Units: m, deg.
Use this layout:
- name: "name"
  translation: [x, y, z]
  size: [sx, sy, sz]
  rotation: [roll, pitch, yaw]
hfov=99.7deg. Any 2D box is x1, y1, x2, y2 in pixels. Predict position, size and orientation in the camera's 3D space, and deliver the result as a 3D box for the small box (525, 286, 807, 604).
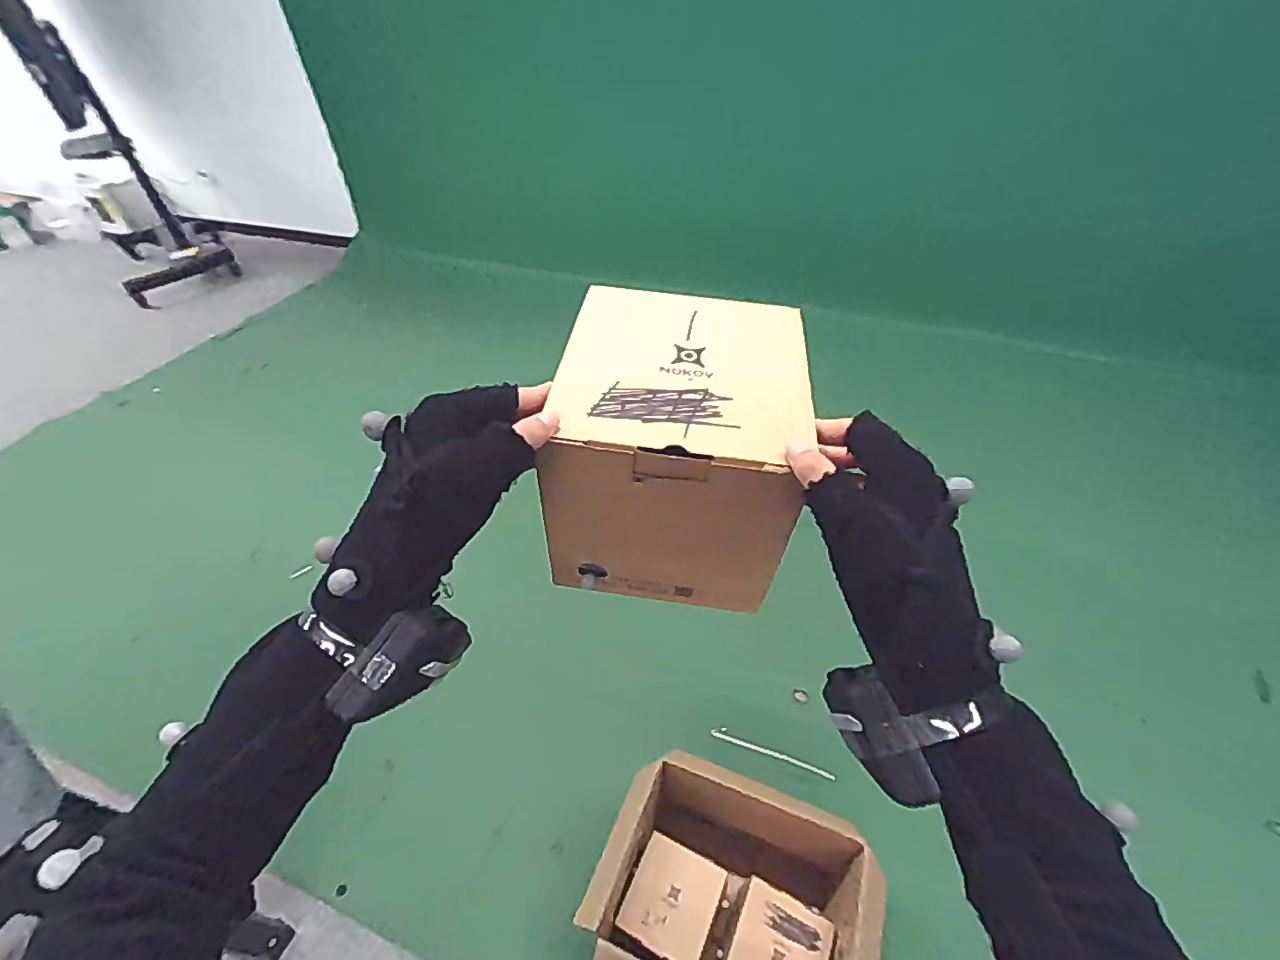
- name: "small box"
  translation: [0.022, -0.024, 0.420]
  size: [0.168, 0.176, 0.179]
  rotation: [7, 48, 3]
